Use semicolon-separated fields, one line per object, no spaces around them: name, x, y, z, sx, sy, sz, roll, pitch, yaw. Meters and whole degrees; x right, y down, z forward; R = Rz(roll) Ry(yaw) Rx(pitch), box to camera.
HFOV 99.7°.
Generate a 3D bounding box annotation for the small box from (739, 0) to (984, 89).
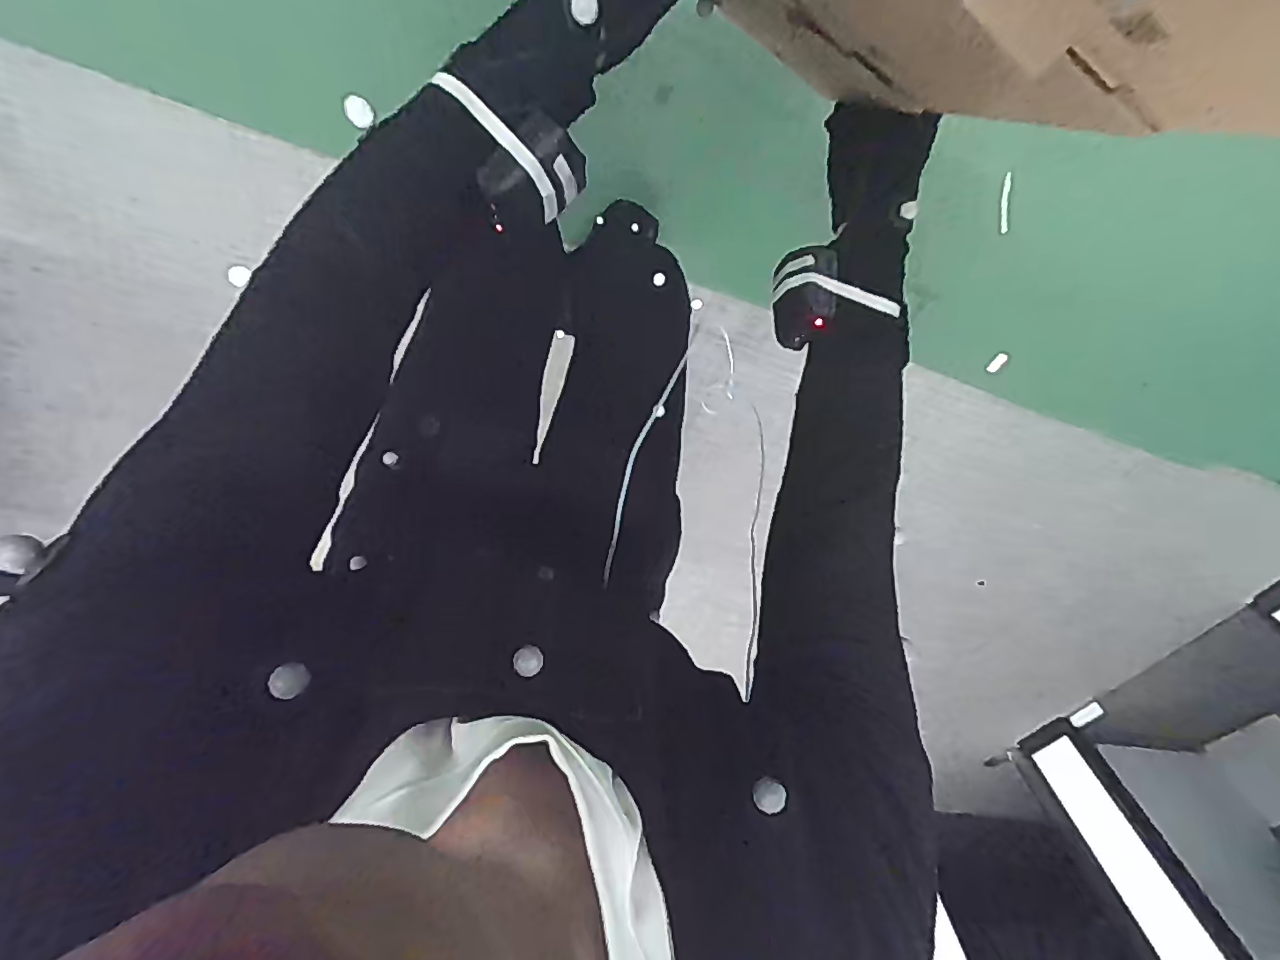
small box;0.144;-0.388;0.338;0.168;0.176;0.179;21;122;-23
